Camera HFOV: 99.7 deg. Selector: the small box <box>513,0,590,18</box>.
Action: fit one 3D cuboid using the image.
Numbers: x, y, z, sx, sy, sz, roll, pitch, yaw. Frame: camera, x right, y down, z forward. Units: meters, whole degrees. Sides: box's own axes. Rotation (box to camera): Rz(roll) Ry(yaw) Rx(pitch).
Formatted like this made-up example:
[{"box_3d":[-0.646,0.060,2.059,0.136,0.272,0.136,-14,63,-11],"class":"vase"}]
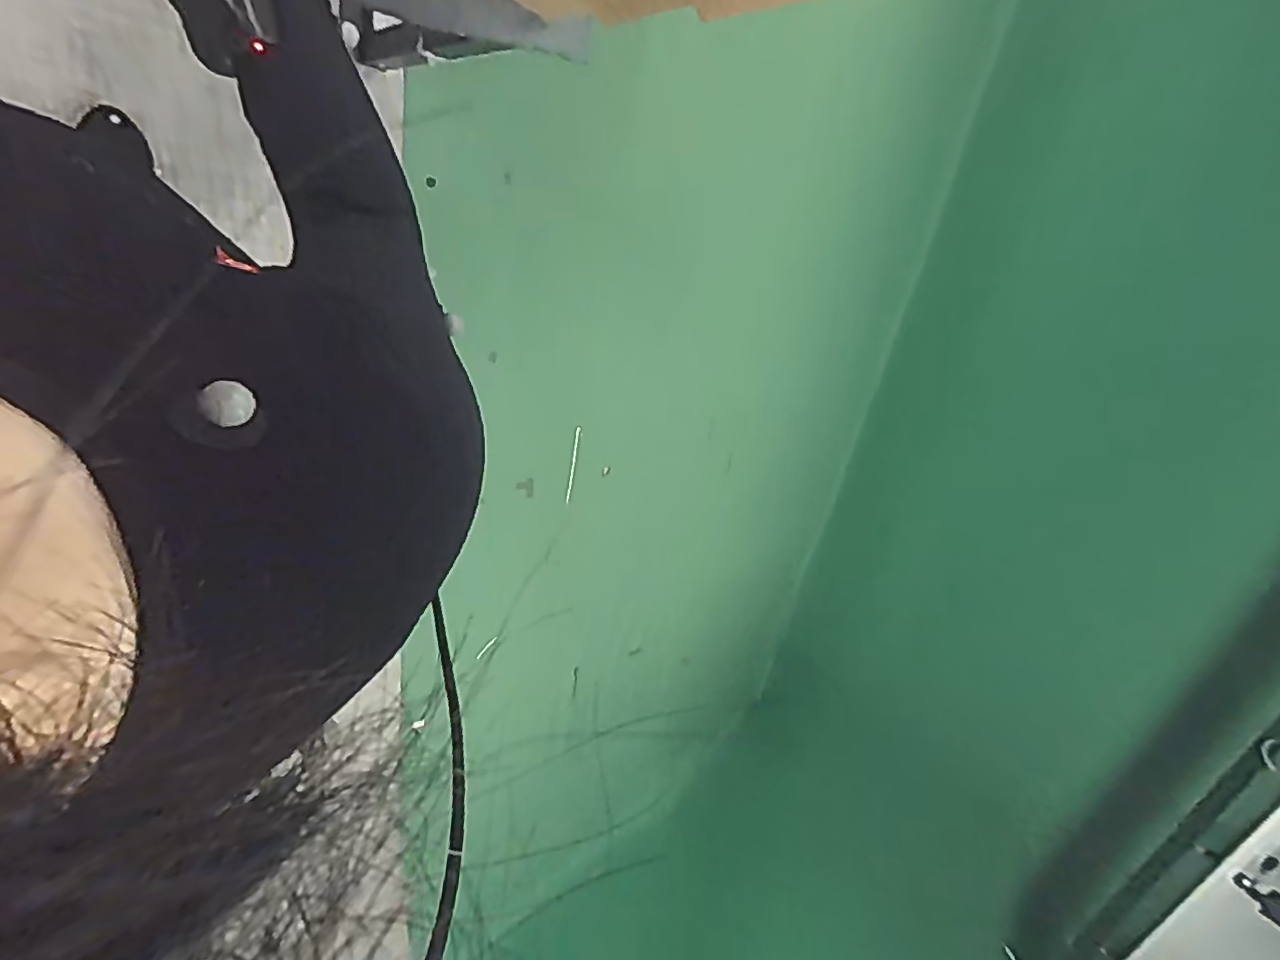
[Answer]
[{"box_3d":[-0.103,-0.624,0.560,0.179,0.176,0.168,-5,115,-44],"class":"small box"}]
